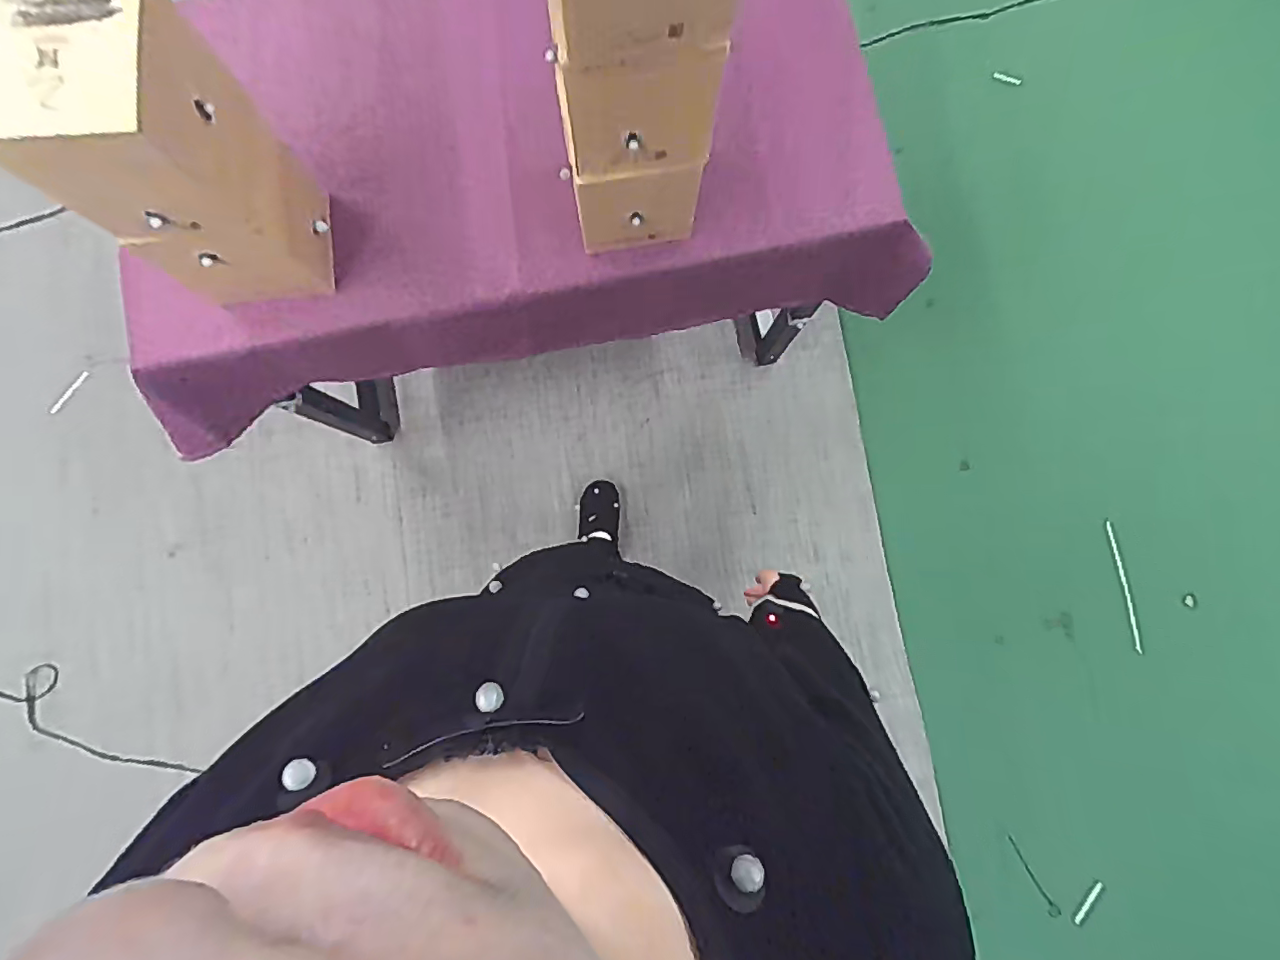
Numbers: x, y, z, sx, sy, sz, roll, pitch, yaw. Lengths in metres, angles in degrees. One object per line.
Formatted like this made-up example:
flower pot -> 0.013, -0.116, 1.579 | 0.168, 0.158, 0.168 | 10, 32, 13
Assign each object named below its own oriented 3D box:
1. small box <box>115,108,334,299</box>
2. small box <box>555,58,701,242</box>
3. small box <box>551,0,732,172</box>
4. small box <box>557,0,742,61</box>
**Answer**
small box -> -0.555, -0.364, 0.741 | 0.179, 0.176, 0.168 | -8, 84, -3
small box -> -0.017, -0.460, 0.765 | 0.168, 0.176, 0.179 | -10, 84, -3
small box -> -0.008, -0.486, 0.604 | 0.168, 0.176, 0.179 | -10, 85, -2
small box -> -0.003, -0.500, 0.440 | 0.168, 0.176, 0.179 | -14, 84, -2
